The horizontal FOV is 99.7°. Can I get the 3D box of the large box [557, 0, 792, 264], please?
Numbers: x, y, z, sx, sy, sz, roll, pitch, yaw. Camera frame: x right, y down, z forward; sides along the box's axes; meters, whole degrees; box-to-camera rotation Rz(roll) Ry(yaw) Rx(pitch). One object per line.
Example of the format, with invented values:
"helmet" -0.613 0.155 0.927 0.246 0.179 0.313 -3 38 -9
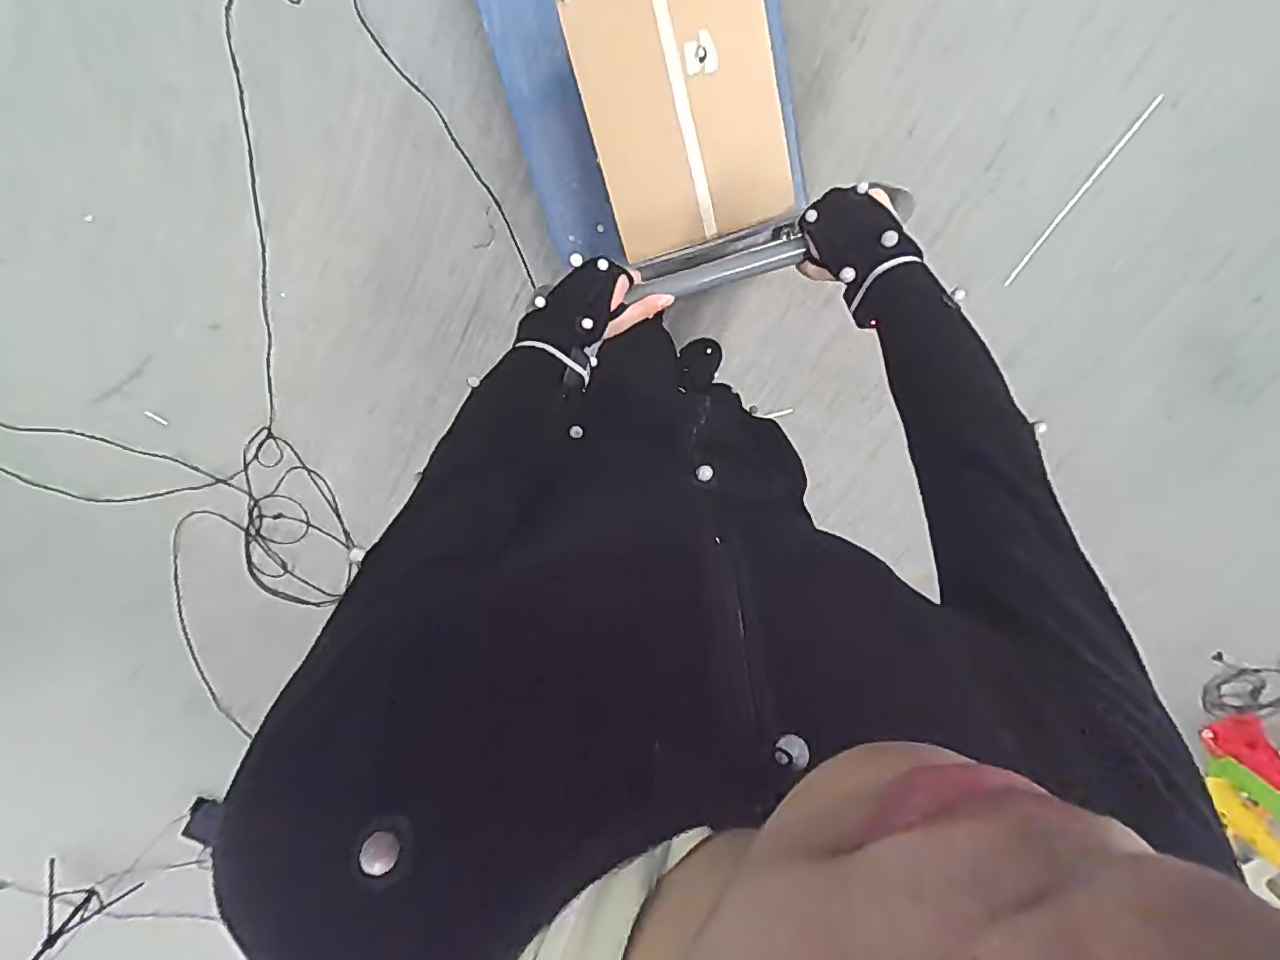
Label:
"large box" 0.077 -0.676 1.055 0.320 0.320 0.408 -15 111 8
